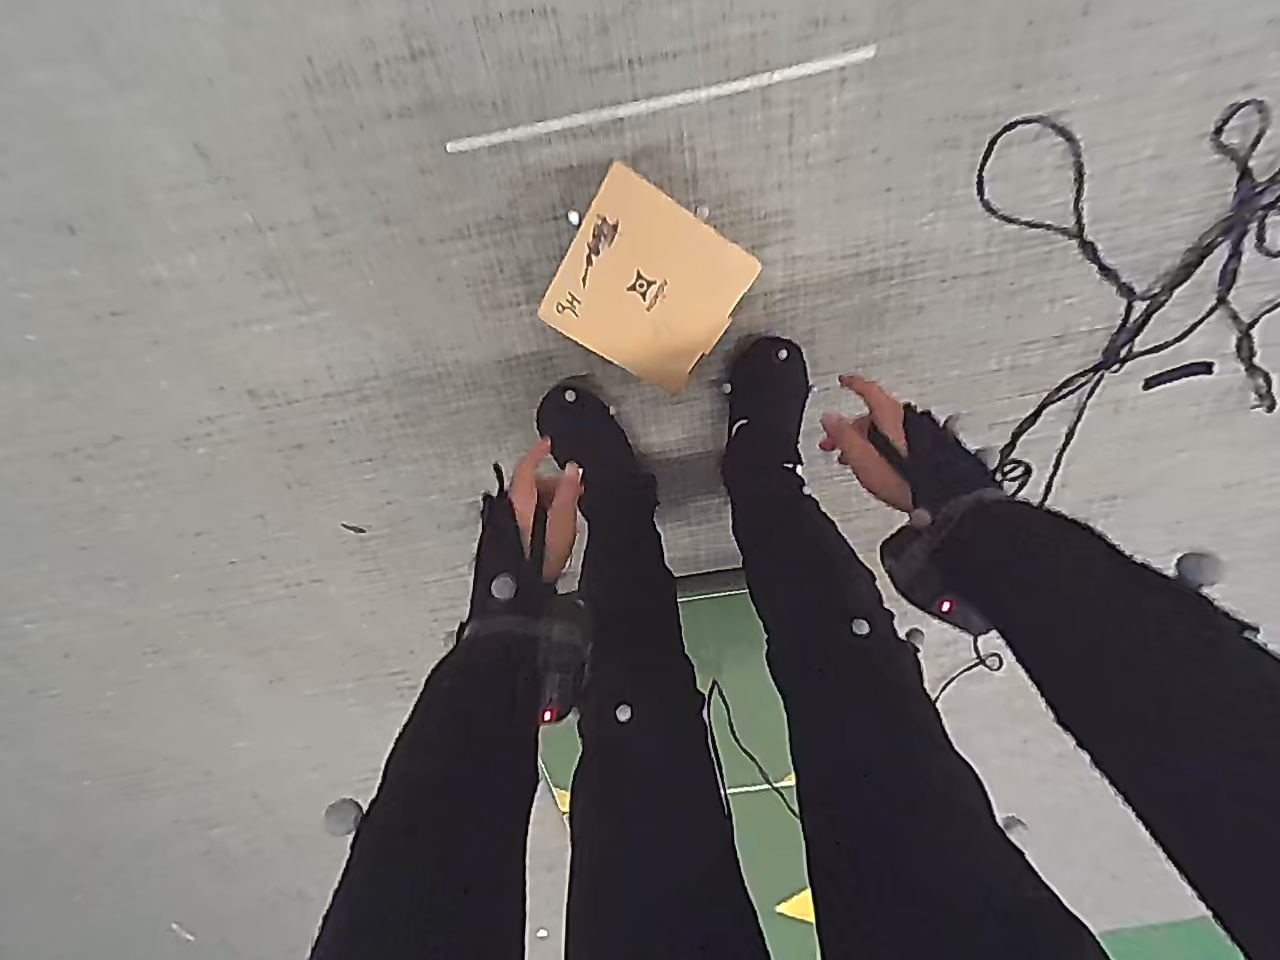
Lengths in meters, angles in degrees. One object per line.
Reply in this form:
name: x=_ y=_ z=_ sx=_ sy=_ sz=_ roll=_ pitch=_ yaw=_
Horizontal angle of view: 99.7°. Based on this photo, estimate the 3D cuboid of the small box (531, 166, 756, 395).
small box: x=-0.001 y=-0.232 z=0.614 sx=0.179 sy=0.176 sz=0.168 roll=27 pitch=115 yaw=-18
